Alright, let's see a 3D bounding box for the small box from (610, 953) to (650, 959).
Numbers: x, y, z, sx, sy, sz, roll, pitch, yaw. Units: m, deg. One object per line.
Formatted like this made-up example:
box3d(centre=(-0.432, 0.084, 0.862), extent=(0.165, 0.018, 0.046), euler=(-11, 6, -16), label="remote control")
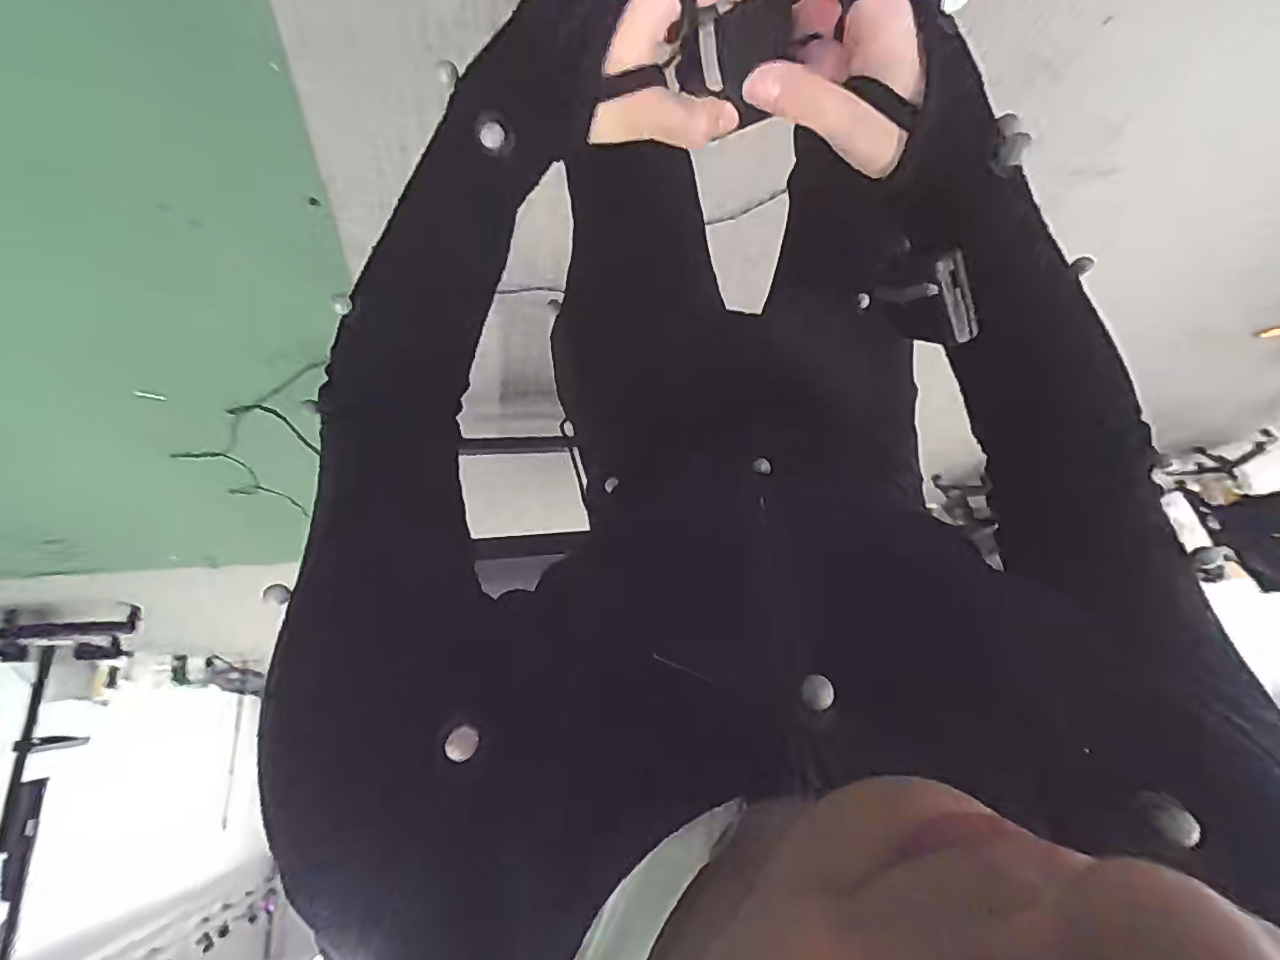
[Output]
box3d(centre=(-0.045, 1.145, 1.144), extent=(0.179, 0.176, 0.168), euler=(-2, 157, -15), label="small box")
